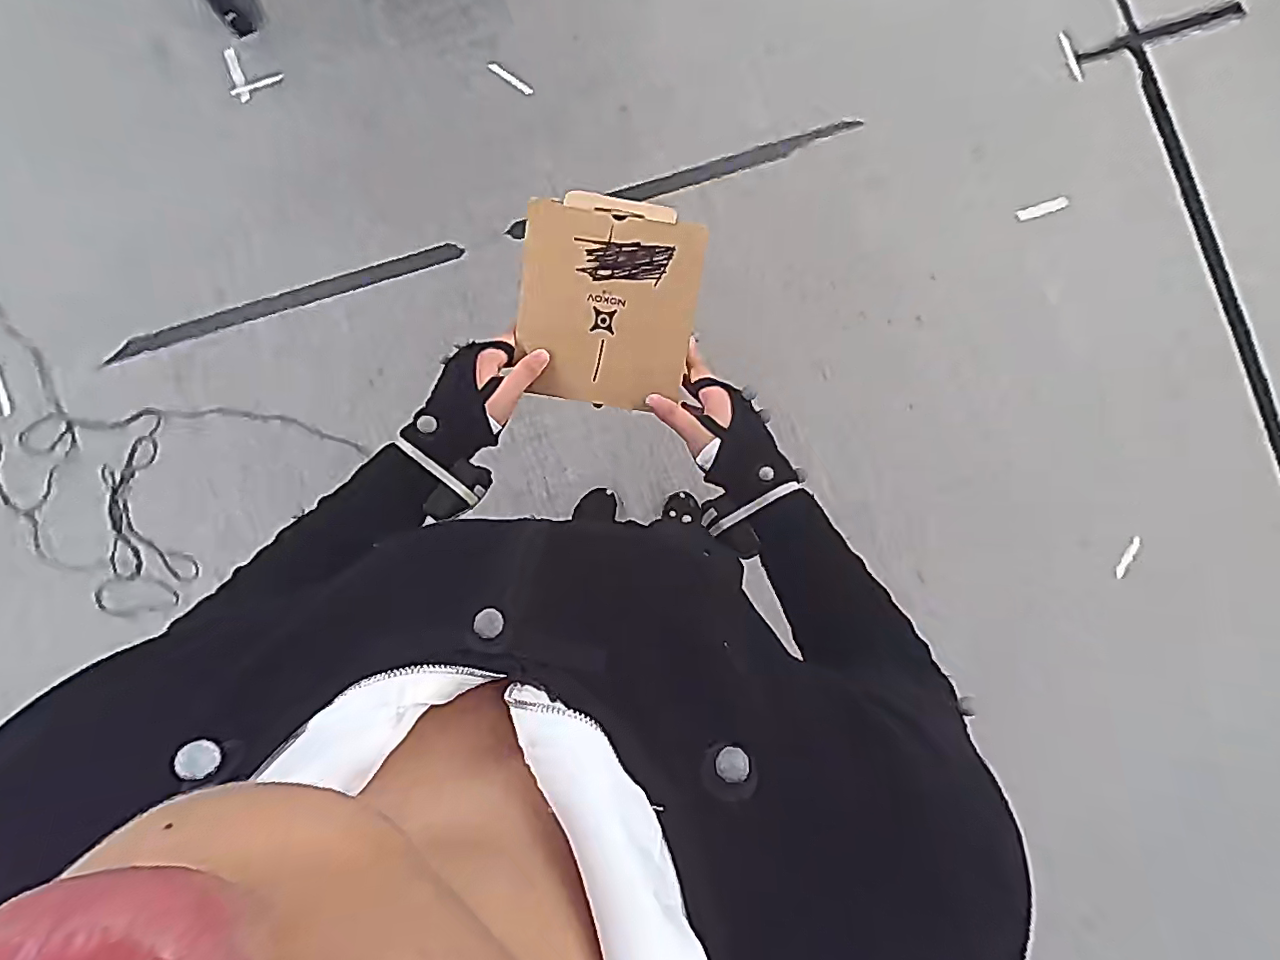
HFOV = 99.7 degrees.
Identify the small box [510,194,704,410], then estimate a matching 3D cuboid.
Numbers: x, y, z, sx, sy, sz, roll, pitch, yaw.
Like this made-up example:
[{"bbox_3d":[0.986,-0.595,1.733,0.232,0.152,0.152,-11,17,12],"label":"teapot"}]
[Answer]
[{"bbox_3d":[-0.034,-0.181,0.586,0.168,0.176,0.179,8,104,-1],"label":"small box"}]
